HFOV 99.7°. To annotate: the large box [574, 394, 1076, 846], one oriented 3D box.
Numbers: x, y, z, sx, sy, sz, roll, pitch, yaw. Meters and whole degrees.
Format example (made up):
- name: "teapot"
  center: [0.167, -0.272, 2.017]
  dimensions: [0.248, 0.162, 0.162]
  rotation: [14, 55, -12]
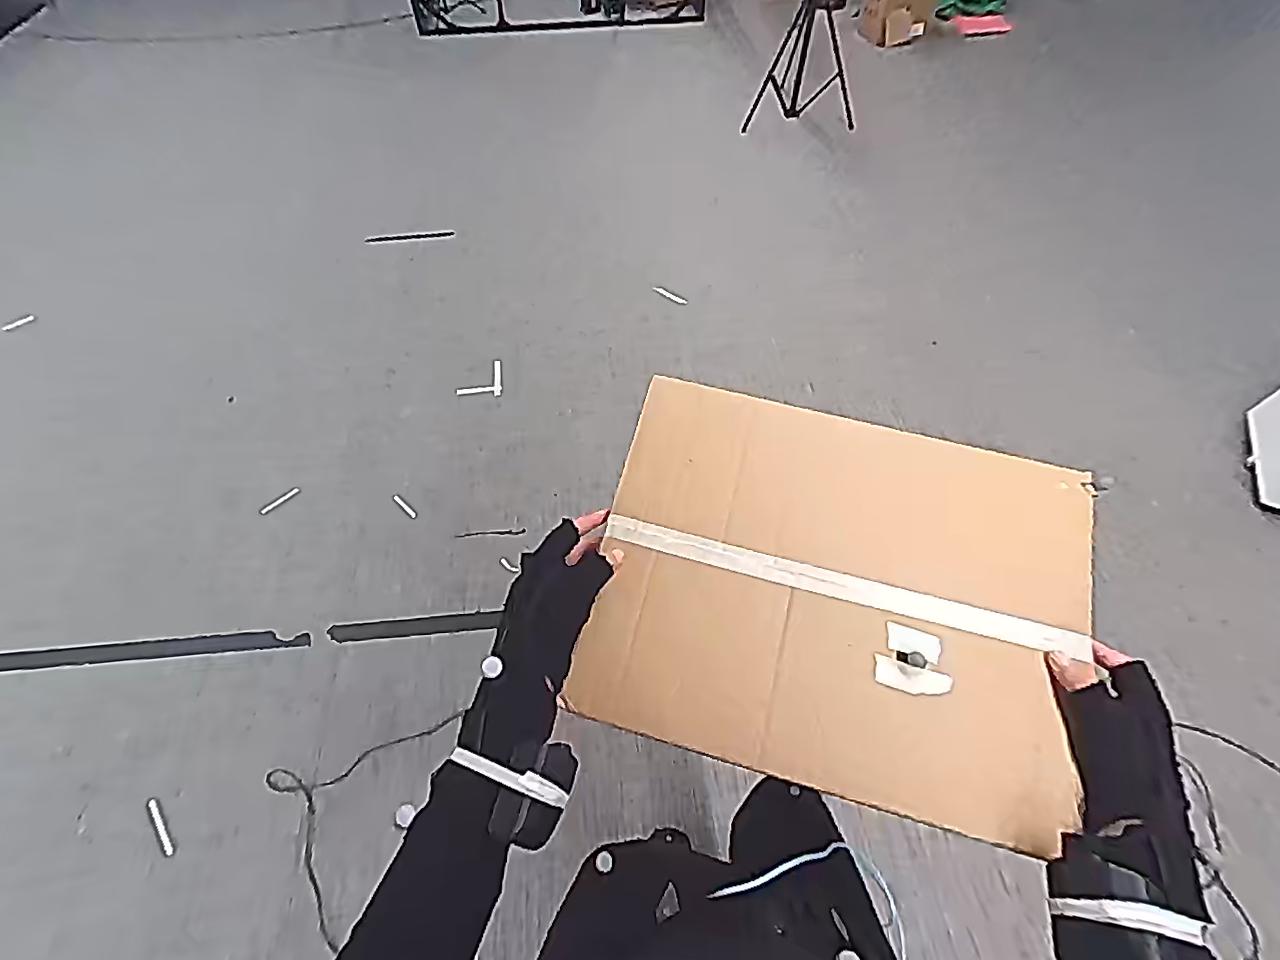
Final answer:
- name: "large box"
  center: [0.174, 0.143, 0.618]
  dimensions: [0.408, 0.320, 0.320]
  rotation: [14, 73, 7]
